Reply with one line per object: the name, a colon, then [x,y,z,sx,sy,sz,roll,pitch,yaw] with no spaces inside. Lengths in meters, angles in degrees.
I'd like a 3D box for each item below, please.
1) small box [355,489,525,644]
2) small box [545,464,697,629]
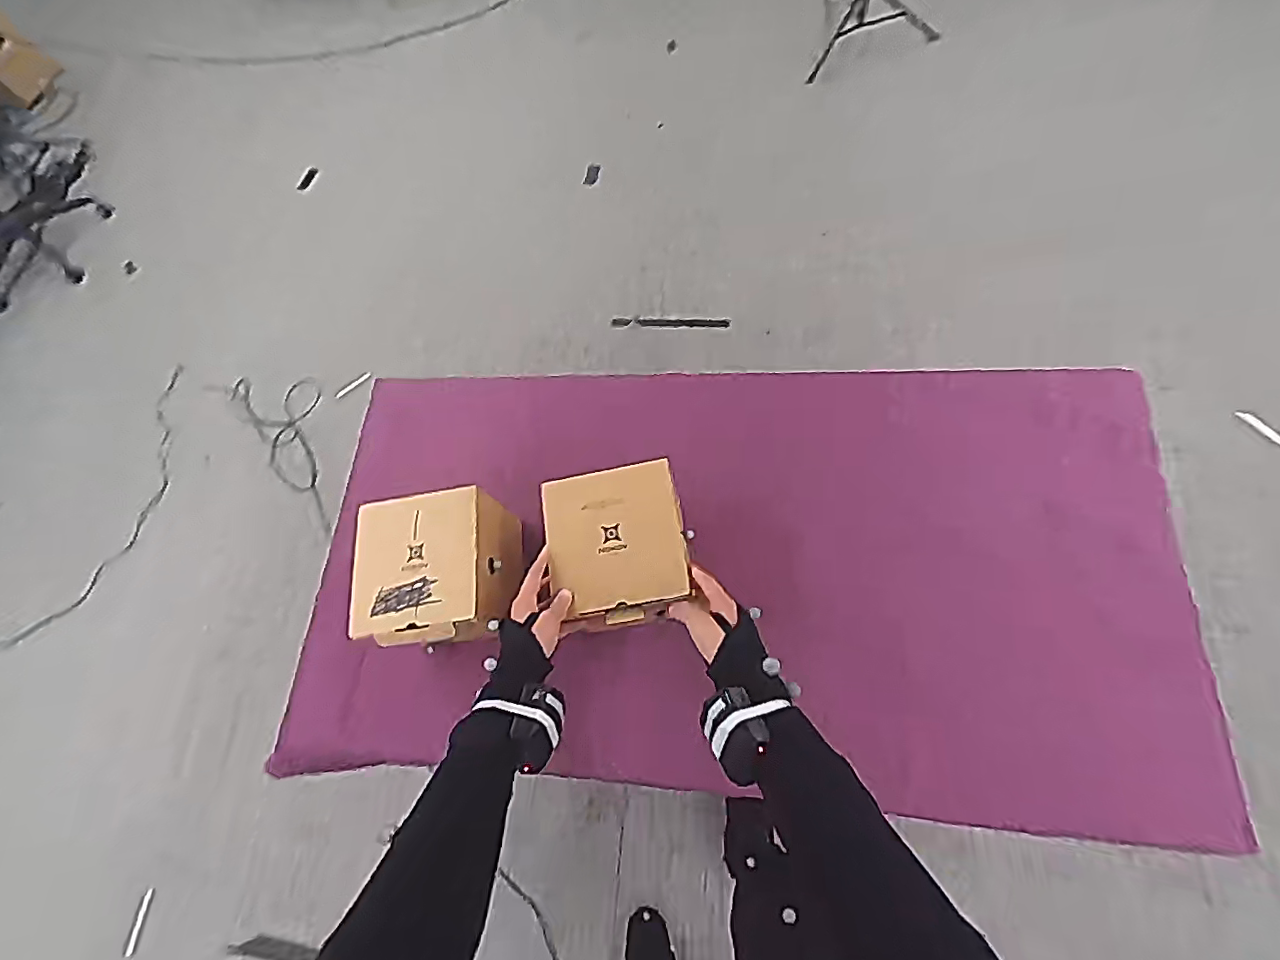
small box: [-0.267,0.131,0.759,0.168,0.176,0.179,-10,68,5]
small box: [-0.019,0.101,0.731,0.168,0.176,0.179,-11,68,5]
